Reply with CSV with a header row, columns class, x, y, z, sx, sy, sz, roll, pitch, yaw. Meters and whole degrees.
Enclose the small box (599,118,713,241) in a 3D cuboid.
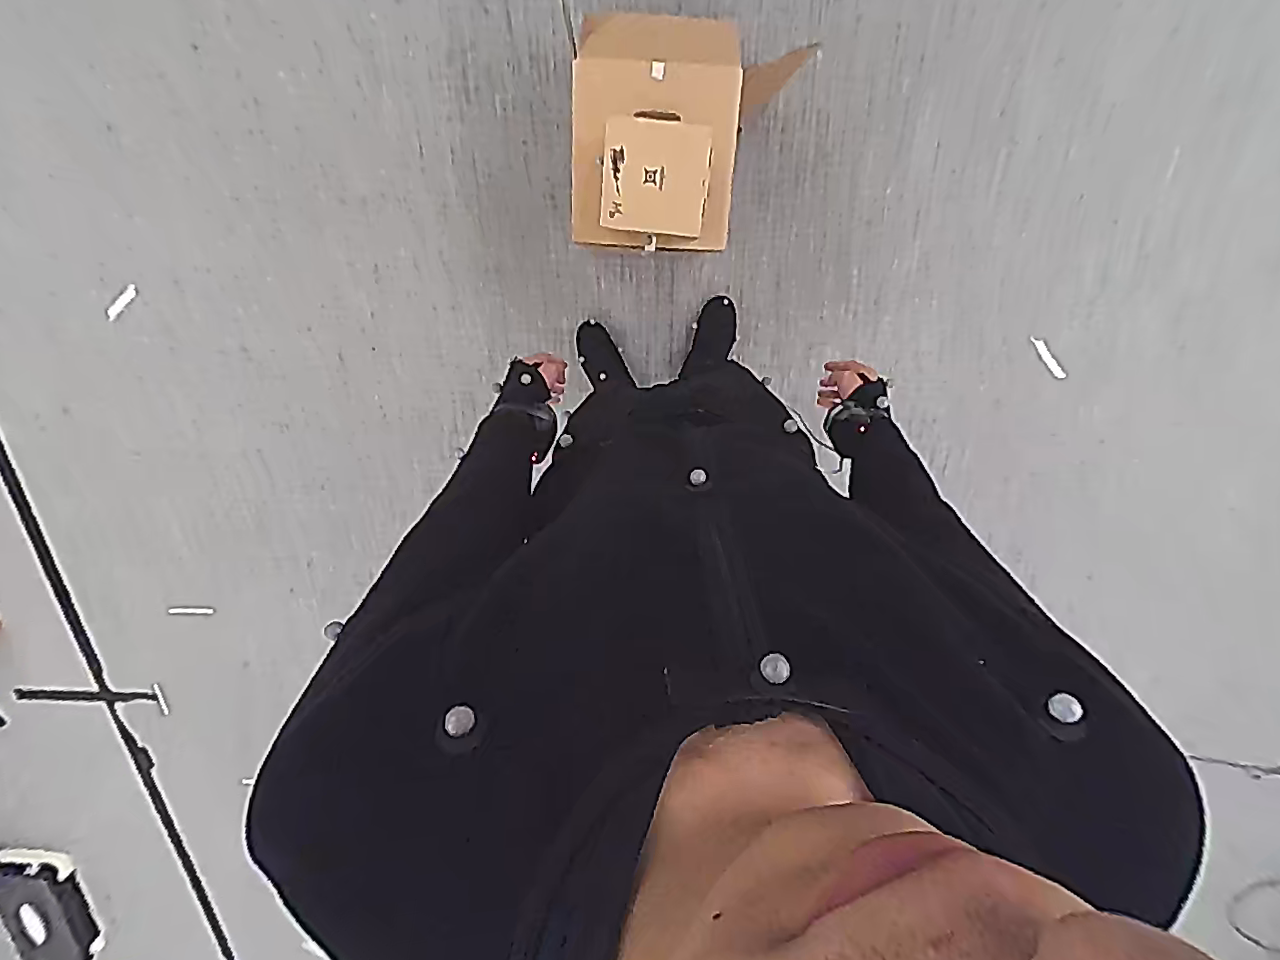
class,x,y,z,sx,sy,sz,roll,pitch,yaw
small box,0.023,-0.530,0.974,0.179,0.176,0.168,5,113,-3
